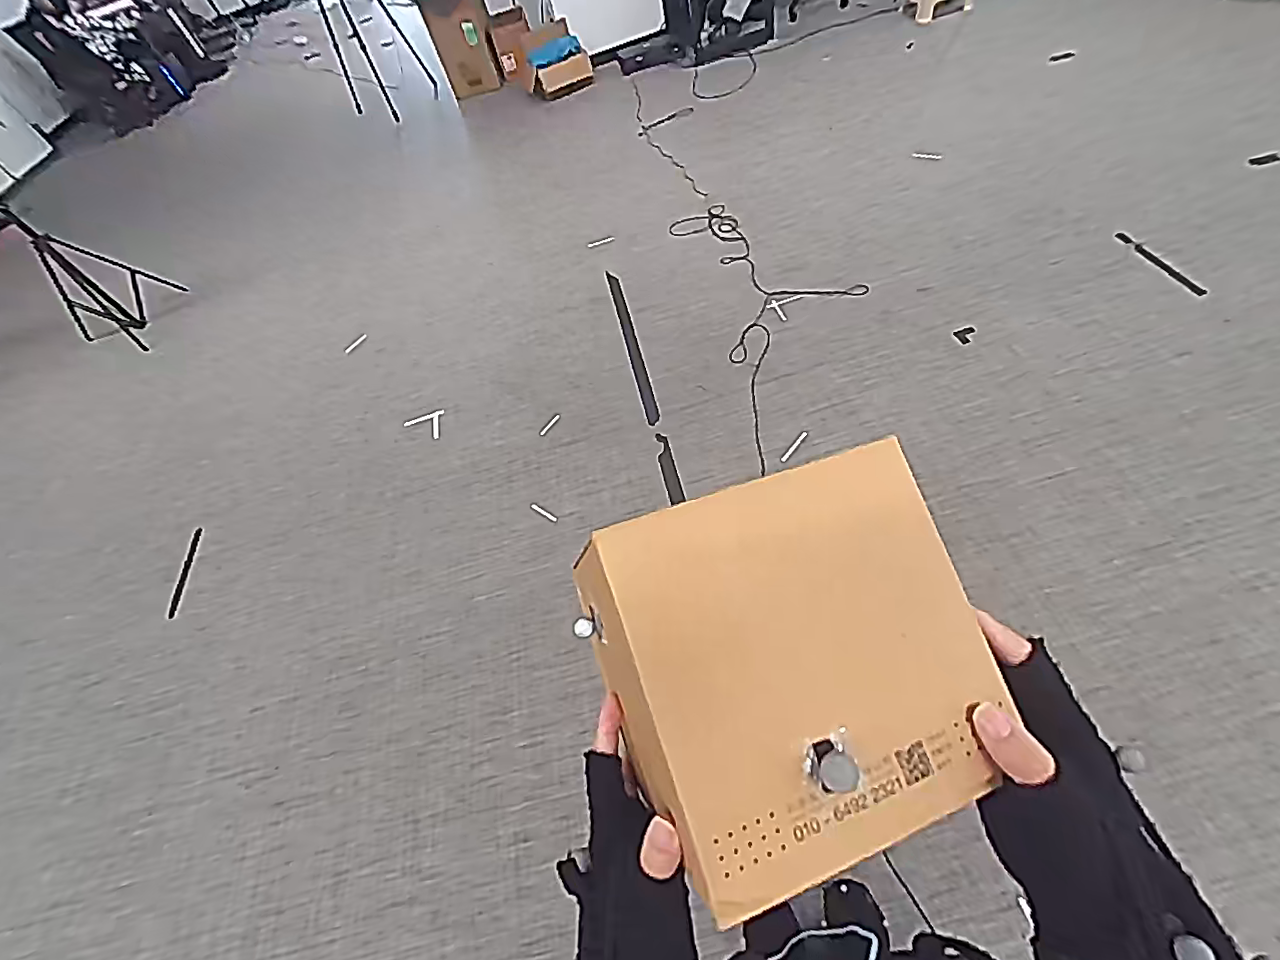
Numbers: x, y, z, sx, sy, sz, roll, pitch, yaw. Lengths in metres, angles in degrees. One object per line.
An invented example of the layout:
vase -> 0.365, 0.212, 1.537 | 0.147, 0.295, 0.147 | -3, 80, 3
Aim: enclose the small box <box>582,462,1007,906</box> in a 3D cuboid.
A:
small box -> 0.069, 0.109, 0.337 | 0.168, 0.179, 0.176 | -17, 79, -13
